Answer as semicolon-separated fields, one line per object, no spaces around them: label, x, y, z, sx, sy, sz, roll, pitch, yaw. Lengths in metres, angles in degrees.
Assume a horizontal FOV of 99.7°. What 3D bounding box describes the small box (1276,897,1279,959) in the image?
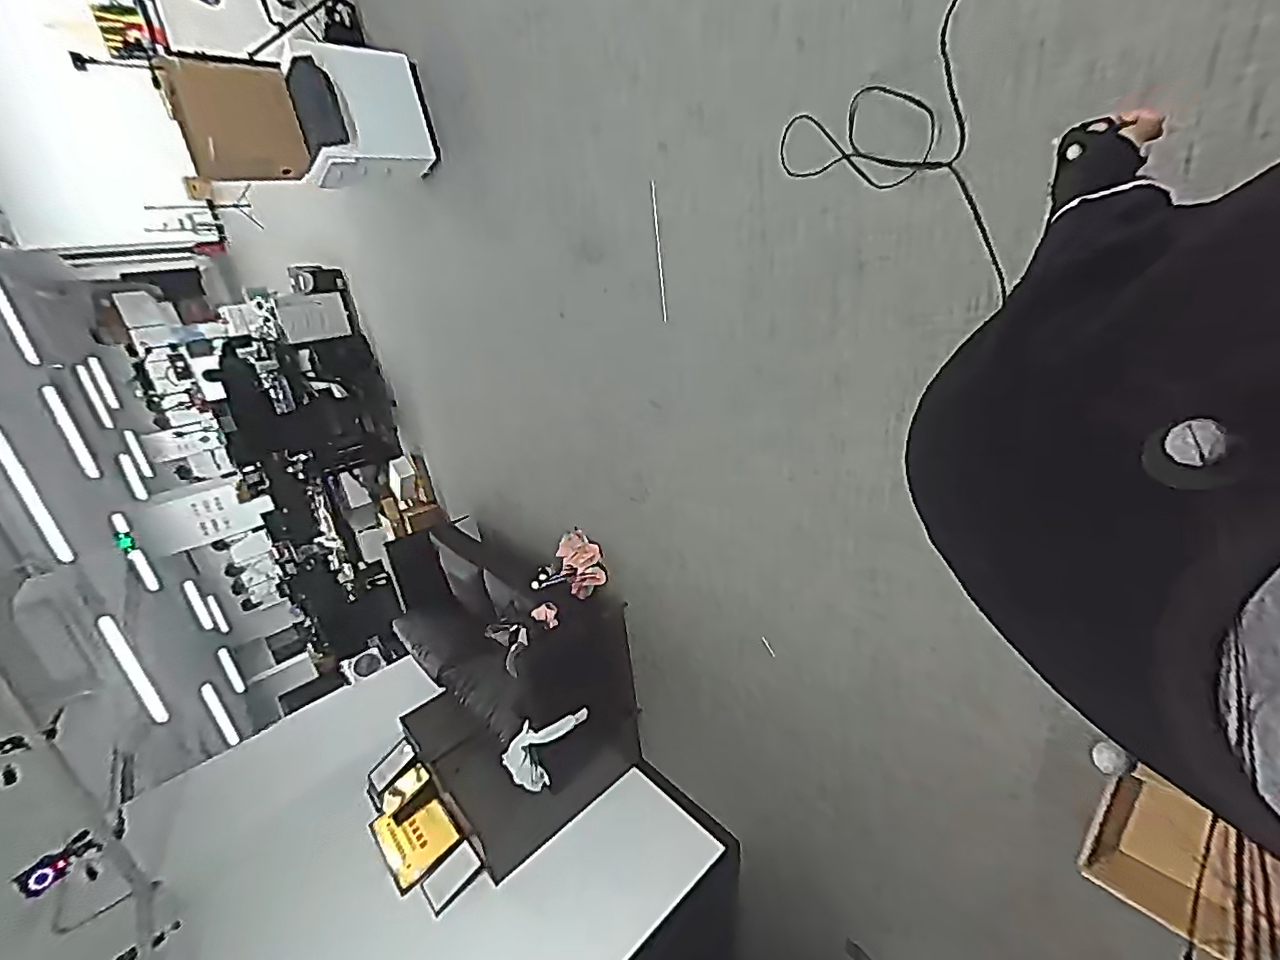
small box;1.426;0.925;1.082;0.179;0.176;0.168;14;119;43
